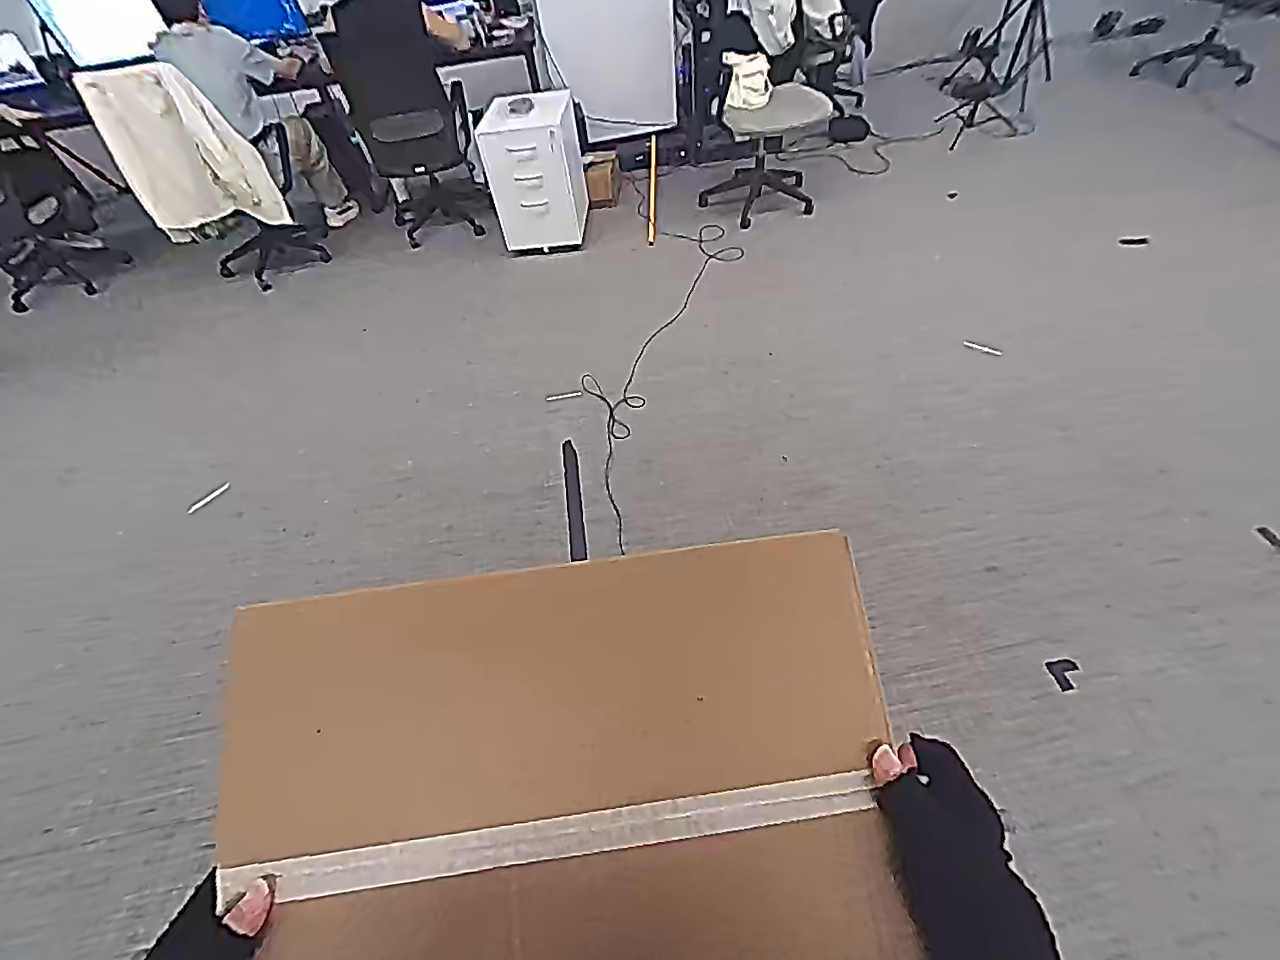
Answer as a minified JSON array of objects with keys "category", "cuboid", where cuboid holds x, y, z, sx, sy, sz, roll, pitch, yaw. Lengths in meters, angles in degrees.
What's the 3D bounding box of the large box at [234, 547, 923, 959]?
[{"category":"large box","cuboid":[-0.043,0.255,0.476,0.408,0.320,0.320,-8,75,-2]}]
